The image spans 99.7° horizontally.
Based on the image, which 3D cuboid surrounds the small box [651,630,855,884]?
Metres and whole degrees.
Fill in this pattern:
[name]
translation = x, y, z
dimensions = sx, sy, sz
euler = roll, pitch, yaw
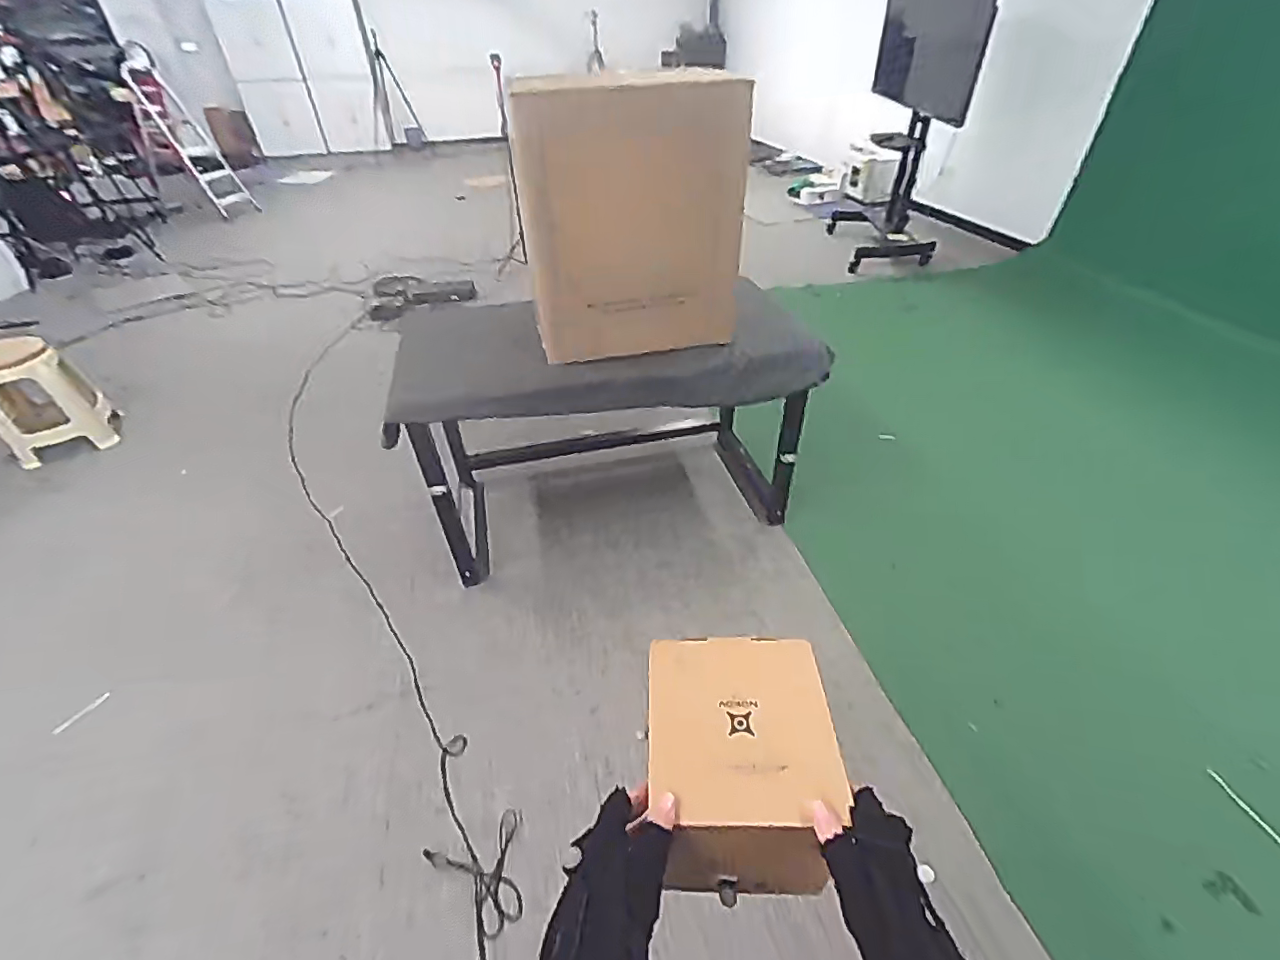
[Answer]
[small box]
translation = 0.095, 0.274, 0.545
dimensions = 0.168, 0.176, 0.179
euler = -2, 38, 3
